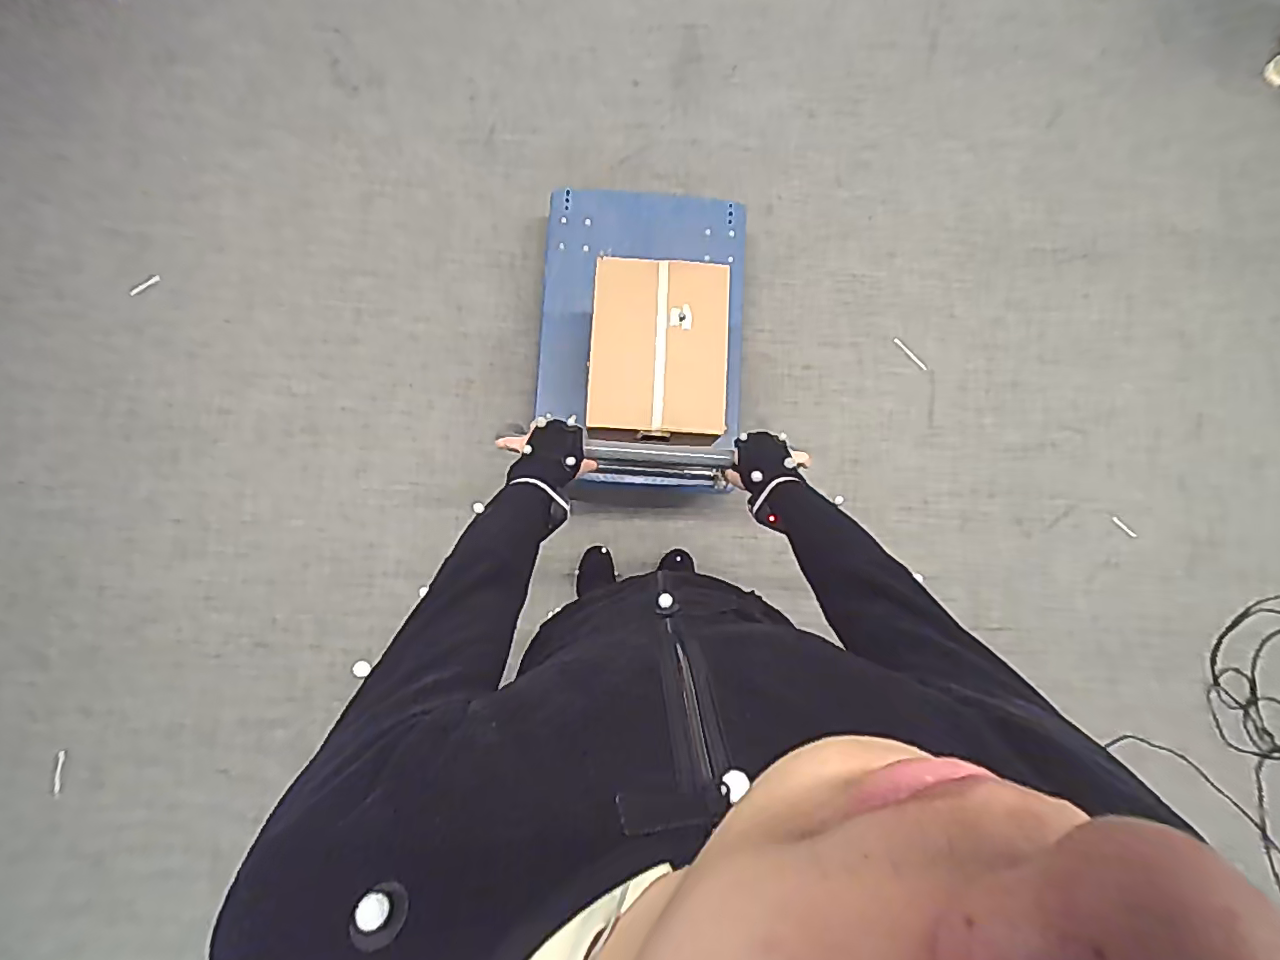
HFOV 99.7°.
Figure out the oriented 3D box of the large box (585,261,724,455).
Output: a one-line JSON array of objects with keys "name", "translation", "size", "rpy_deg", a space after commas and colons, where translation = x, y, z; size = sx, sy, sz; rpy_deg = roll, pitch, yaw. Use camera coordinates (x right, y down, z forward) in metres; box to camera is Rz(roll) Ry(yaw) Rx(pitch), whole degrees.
[{"name": "large box", "translation": [0.031, -0.285, 1.374], "size": [0.320, 0.320, 0.408], "rpy_deg": [3, 82, -3]}]
